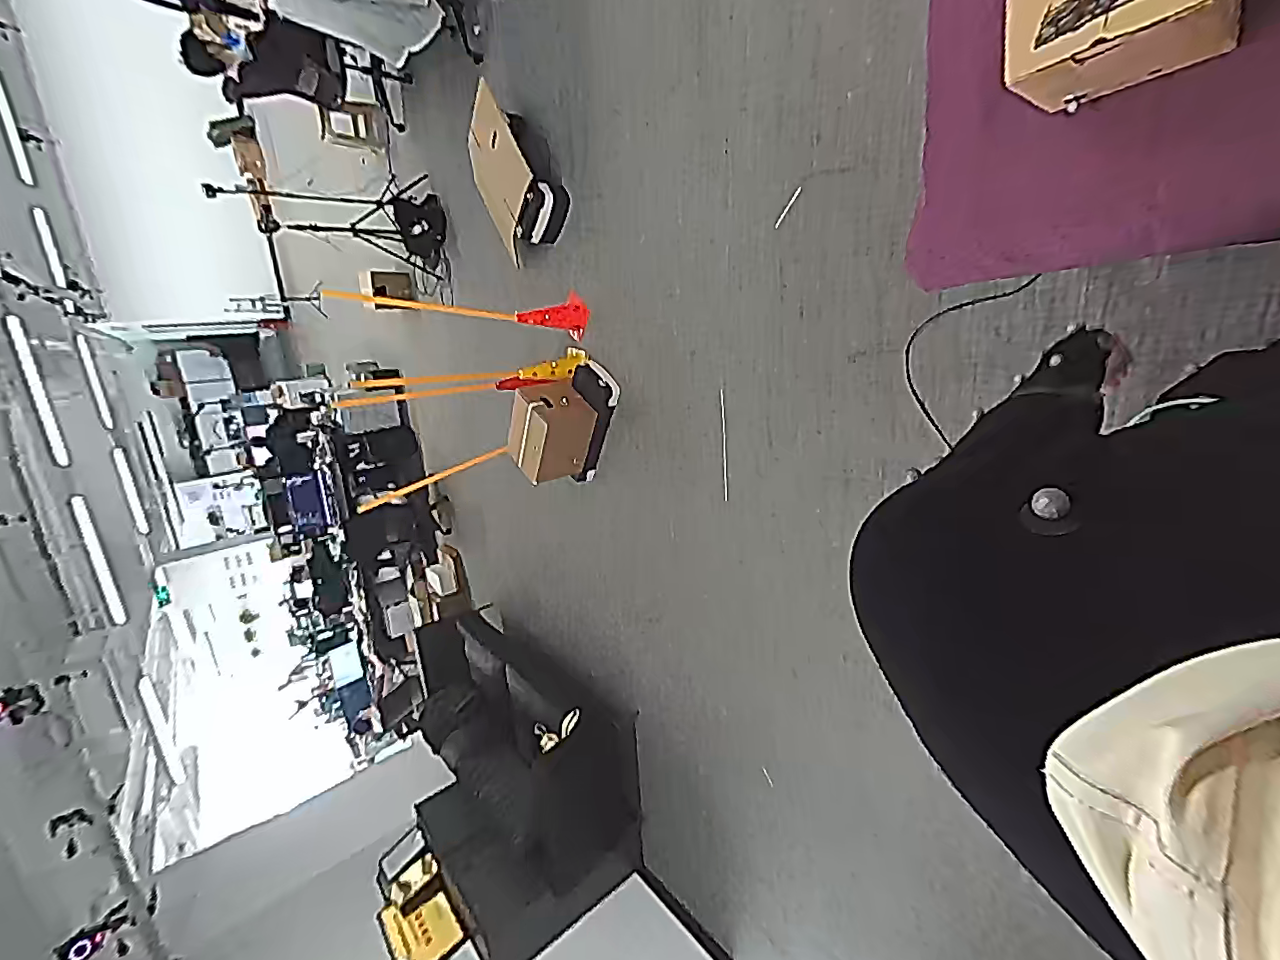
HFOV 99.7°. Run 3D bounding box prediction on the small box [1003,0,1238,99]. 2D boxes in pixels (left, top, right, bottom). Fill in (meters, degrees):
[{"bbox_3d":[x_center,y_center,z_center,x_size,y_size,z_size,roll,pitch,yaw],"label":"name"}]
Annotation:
[{"bbox_3d":[0.509,-0.536,0.571,0.168,0.176,0.179,9,109,50],"label":"small box"}]
